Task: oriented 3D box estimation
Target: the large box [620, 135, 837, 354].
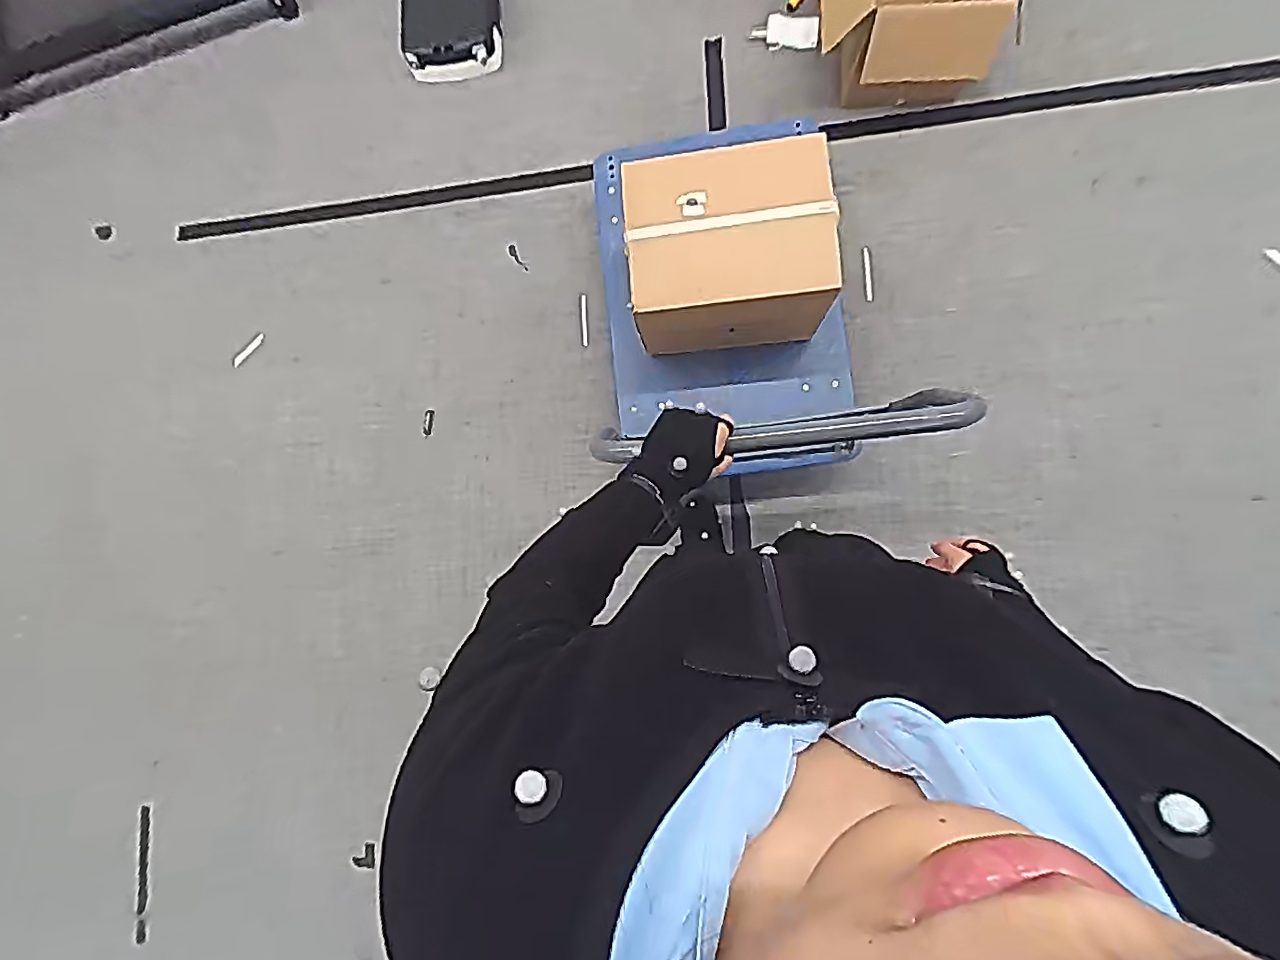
[{"bbox_3d":[0.190,-0.495,1.214,0.408,0.320,0.320,-5,85,8],"label":"large box"}]
